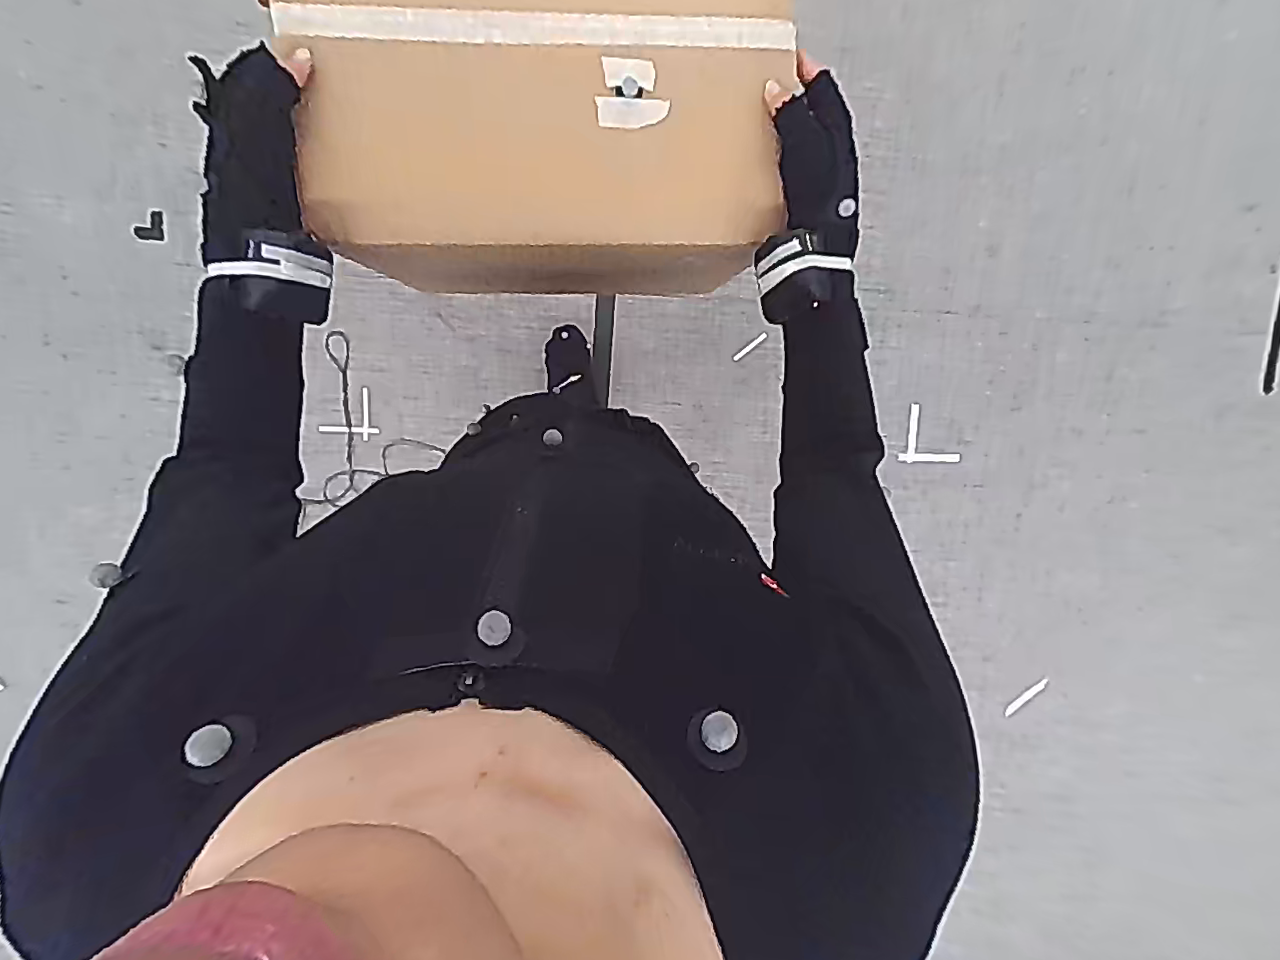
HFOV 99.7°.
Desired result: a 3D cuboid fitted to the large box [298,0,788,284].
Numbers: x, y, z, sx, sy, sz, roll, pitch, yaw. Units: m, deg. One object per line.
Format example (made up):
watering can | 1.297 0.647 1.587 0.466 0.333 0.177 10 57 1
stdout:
large box | -0.088 -0.401 0.587 0.408 0.320 0.320 -2 103 -5
